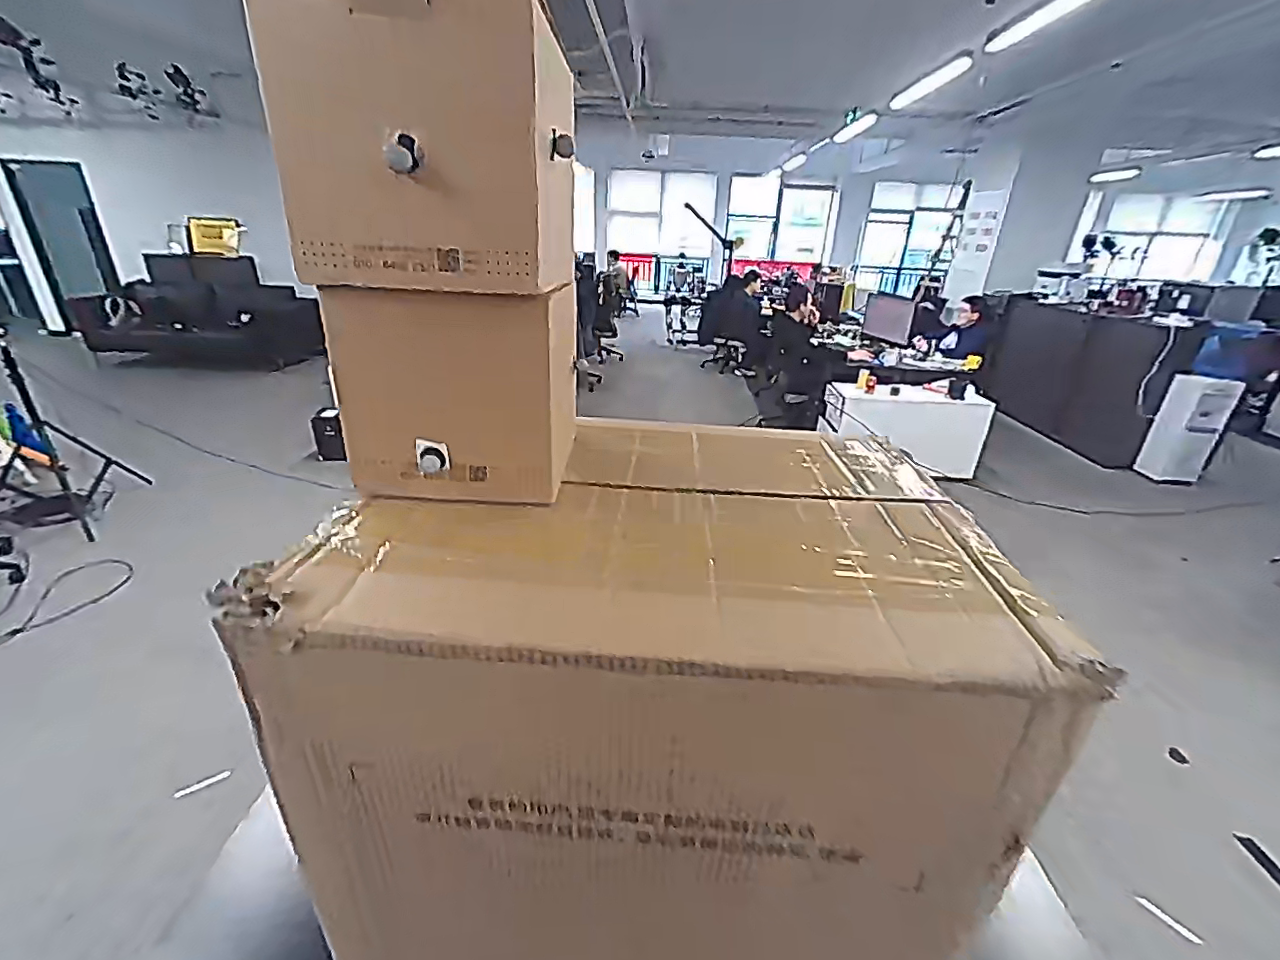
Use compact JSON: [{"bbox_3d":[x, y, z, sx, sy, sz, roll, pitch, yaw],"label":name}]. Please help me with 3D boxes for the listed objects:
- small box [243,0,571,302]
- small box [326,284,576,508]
[{"bbox_3d":[-0.144,-0.232,0.412,0.168,0.176,0.179,2,24,0],"label":"small box"},{"bbox_3d":[-0.148,-0.088,0.492,0.168,0.176,0.179,1,24,-2],"label":"small box"}]
